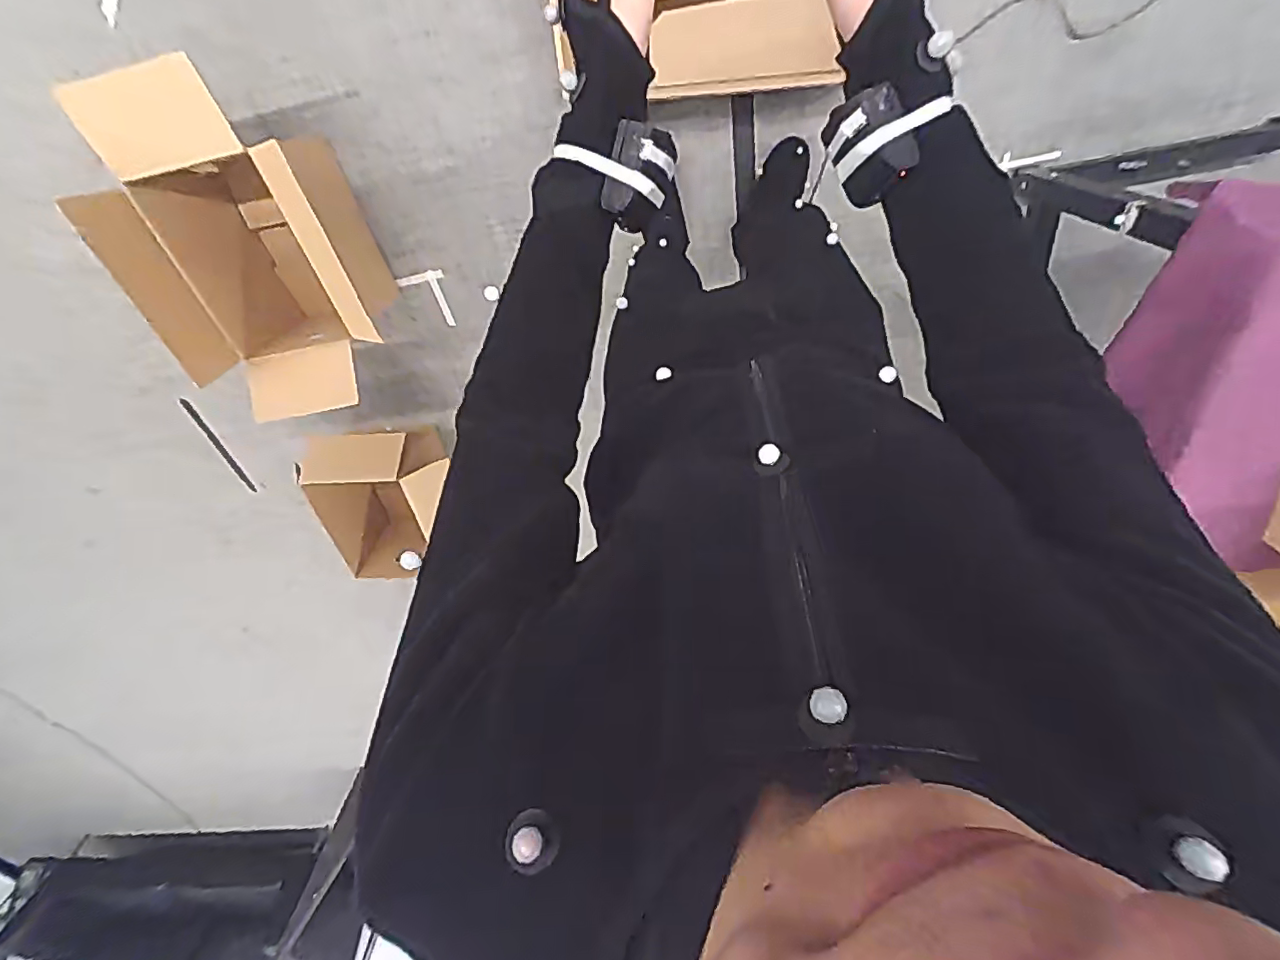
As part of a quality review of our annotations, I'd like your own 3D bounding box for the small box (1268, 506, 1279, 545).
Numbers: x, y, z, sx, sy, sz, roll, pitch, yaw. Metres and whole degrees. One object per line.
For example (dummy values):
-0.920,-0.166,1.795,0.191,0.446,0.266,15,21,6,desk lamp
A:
1.160,0.070,0.840,0.168,0.176,0.179,-14,125,14,small box
